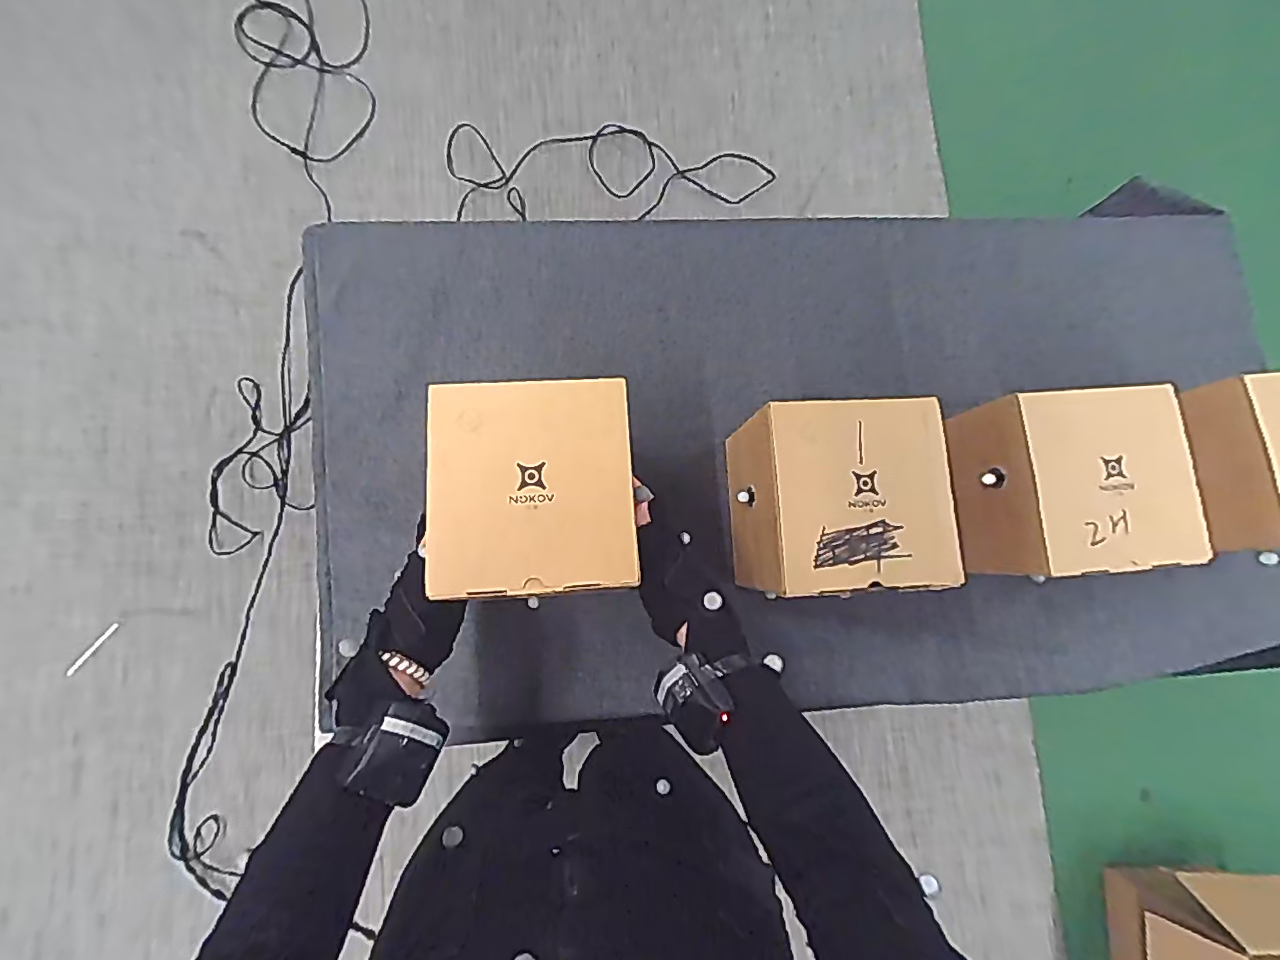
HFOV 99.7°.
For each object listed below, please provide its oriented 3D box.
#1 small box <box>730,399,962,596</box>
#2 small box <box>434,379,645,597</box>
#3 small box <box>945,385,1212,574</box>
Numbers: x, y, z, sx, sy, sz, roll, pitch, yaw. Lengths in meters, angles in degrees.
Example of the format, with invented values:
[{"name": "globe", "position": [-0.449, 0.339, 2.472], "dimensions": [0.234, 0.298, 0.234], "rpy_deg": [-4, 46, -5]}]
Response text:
[{"name": "small box", "position": [0.197, 0.023, 0.565], "dimensions": [0.168, 0.176, 0.179], "rpy_deg": [-2, 81, -5]}, {"name": "small box", "position": [-0.089, 0.018, 0.515], "dimensions": [0.168, 0.176, 0.179], "rpy_deg": [-3, 79, -6]}, {"name": "small box", "position": [0.438, 0.009, 0.586], "dimensions": [0.168, 0.176, 0.179], "rpy_deg": [-4, 82, -5]}]
